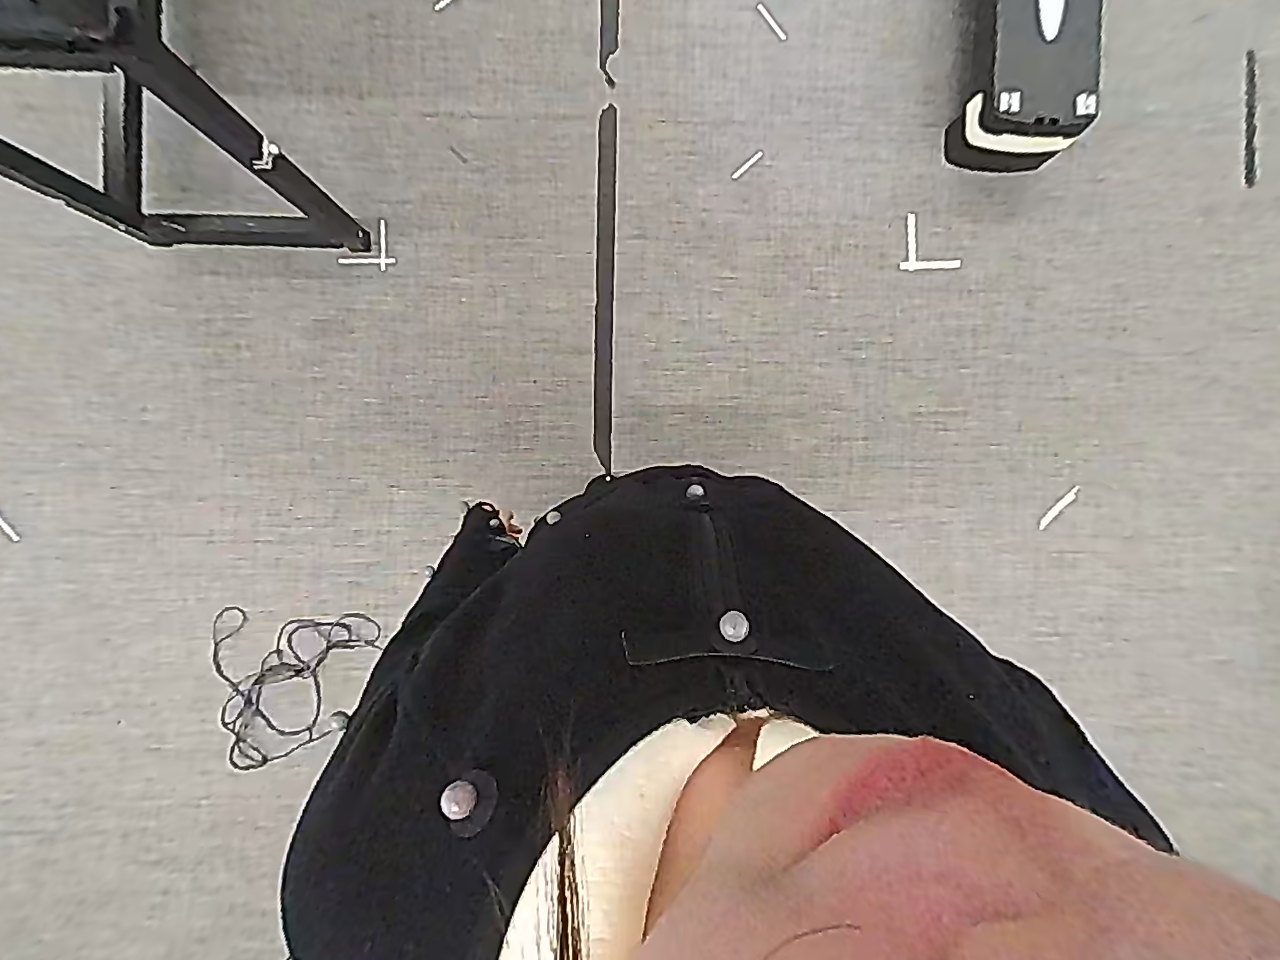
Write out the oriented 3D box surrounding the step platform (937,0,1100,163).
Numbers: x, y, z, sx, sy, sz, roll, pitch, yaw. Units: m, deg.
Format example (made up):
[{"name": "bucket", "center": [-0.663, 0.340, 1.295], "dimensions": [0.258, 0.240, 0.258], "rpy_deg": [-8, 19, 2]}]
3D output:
[{"name": "step platform", "center": [1.003, -1.228, 1.412], "dimensions": [0.286, 0.204, 0.684], "rpy_deg": [6, 90, -2]}]
